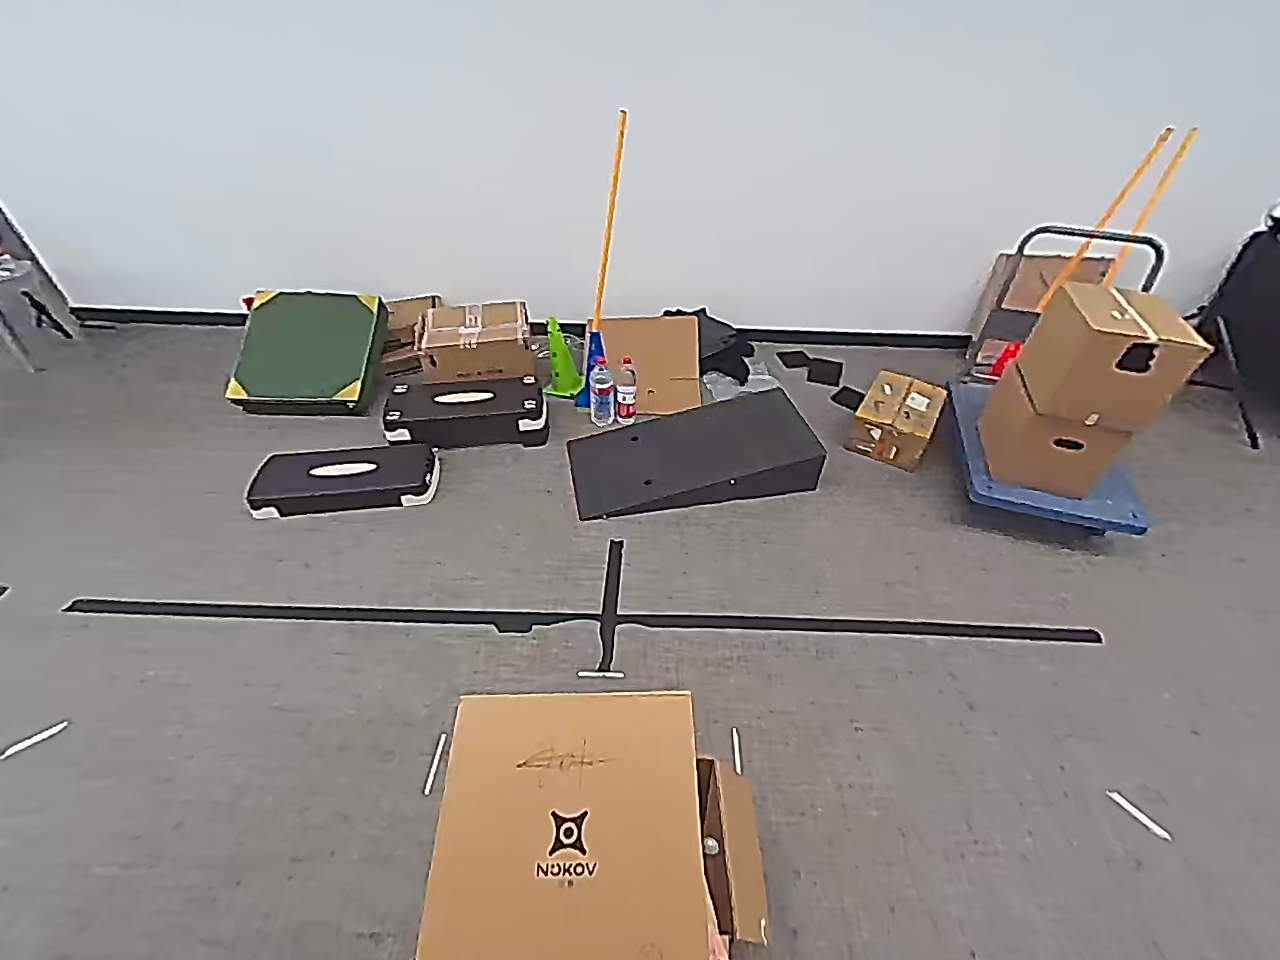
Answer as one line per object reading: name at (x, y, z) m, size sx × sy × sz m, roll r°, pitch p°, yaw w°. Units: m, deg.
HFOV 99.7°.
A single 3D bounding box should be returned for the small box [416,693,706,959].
small box at (-0.043, 0.267, 0.397) m, size 0.168 × 0.176 × 0.179 m, roll 0°, pitch 54°, yaw 0°
